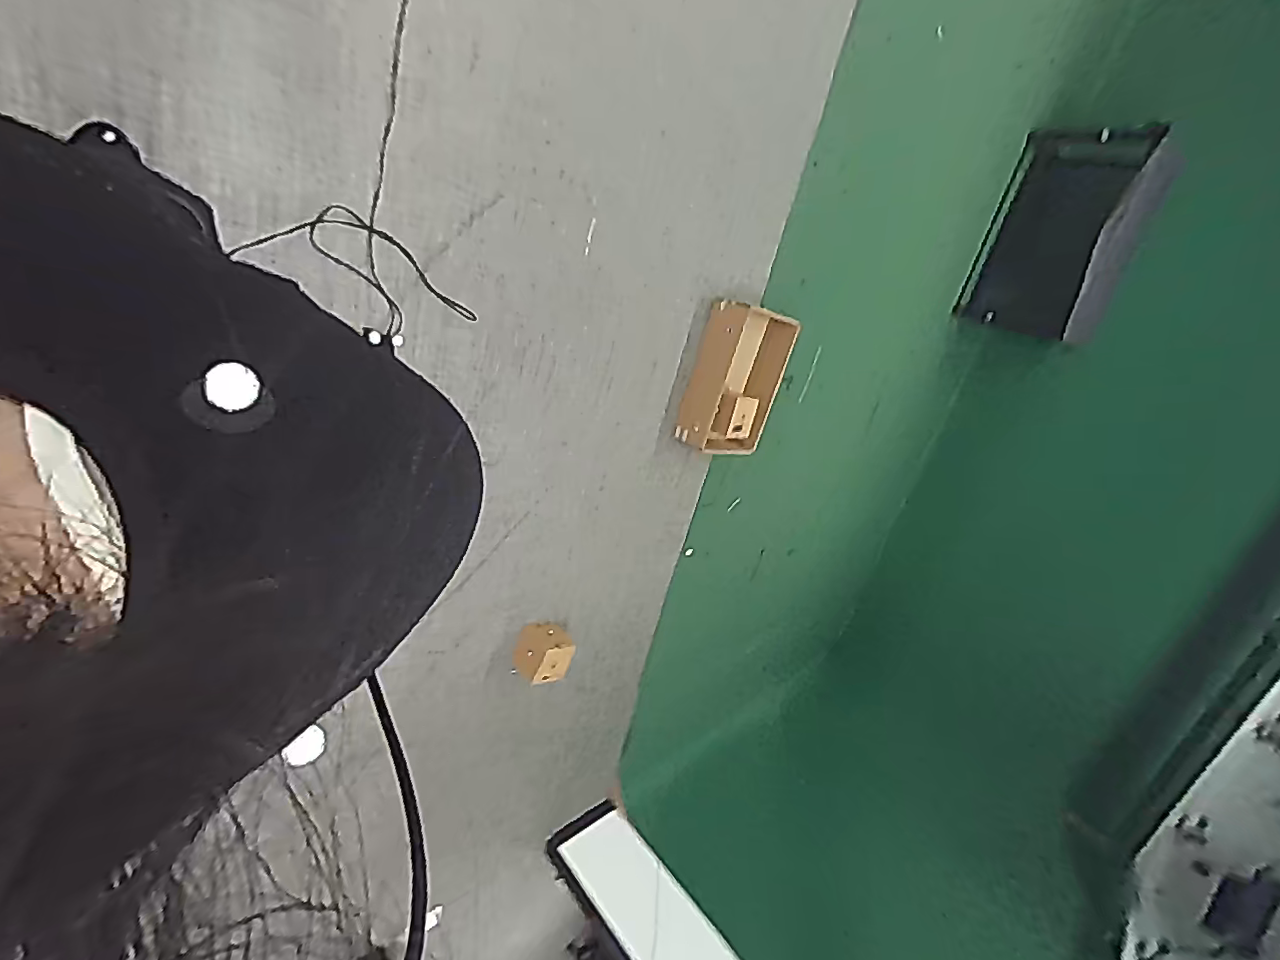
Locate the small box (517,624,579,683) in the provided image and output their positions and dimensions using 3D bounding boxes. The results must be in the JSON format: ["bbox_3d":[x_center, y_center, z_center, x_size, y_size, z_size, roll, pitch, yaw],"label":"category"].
[{"bbox_3d":[-0.394,0.725,2.286,0.168,0.176,0.179,11,105,-49],"label":"small box"}]
